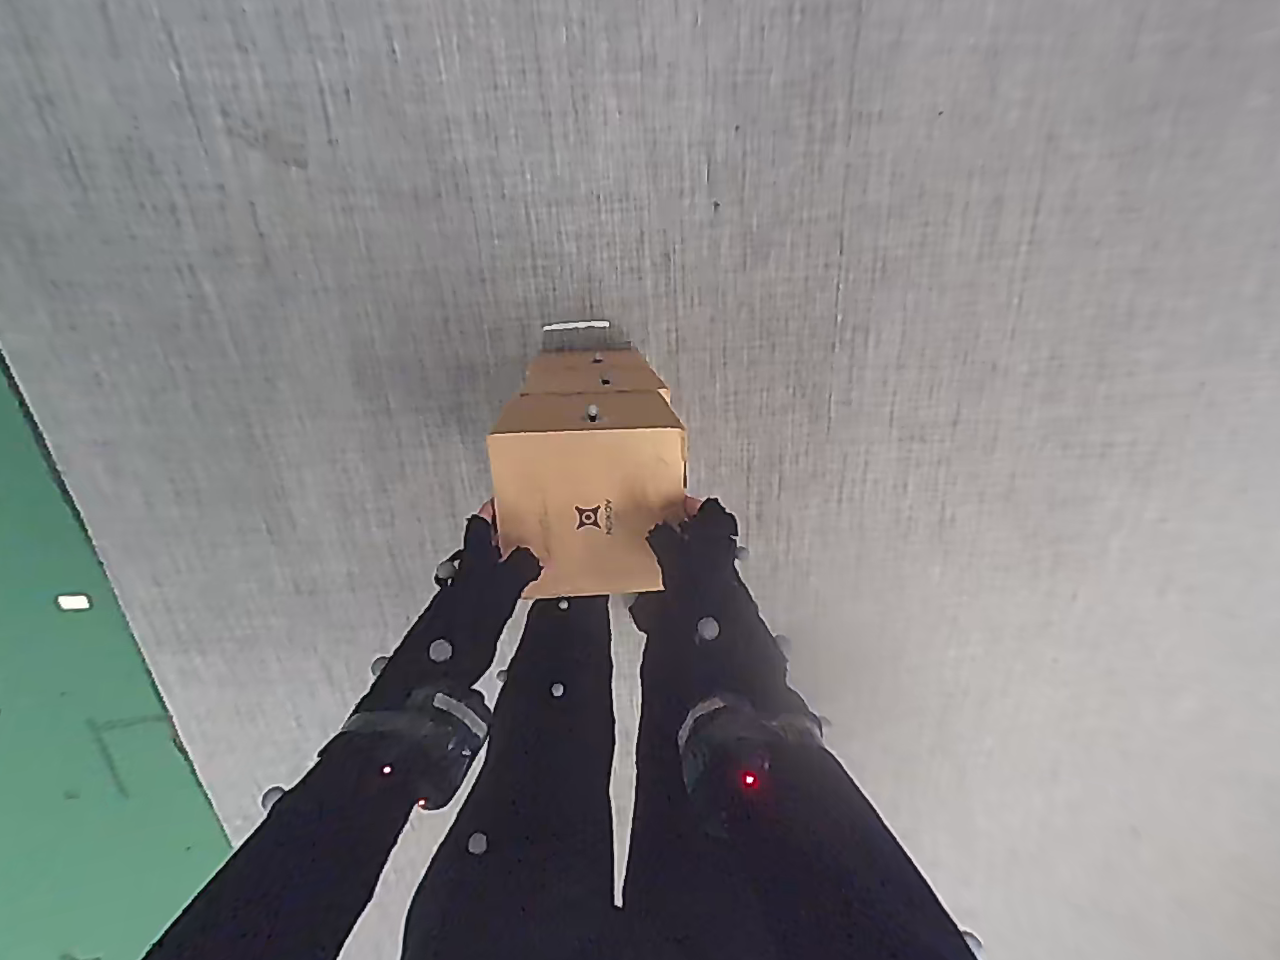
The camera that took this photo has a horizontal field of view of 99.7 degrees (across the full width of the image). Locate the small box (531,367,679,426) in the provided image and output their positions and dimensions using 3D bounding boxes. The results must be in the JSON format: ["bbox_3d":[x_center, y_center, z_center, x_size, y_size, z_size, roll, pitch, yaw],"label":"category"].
[{"bbox_3d":[-0.050,-0.057,0.728,0.179,0.176,0.168,-2,111,-5],"label":"small box"}]

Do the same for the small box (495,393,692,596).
[{"bbox_3d":[-0.046,0.004,0.577,0.179,0.176,0.168,-3,110,-4],"label":"small box"}]

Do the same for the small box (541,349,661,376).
[{"bbox_3d":[-0.066,-0.119,0.876,0.179,0.176,0.168,0,109,-6],"label":"small box"}]
